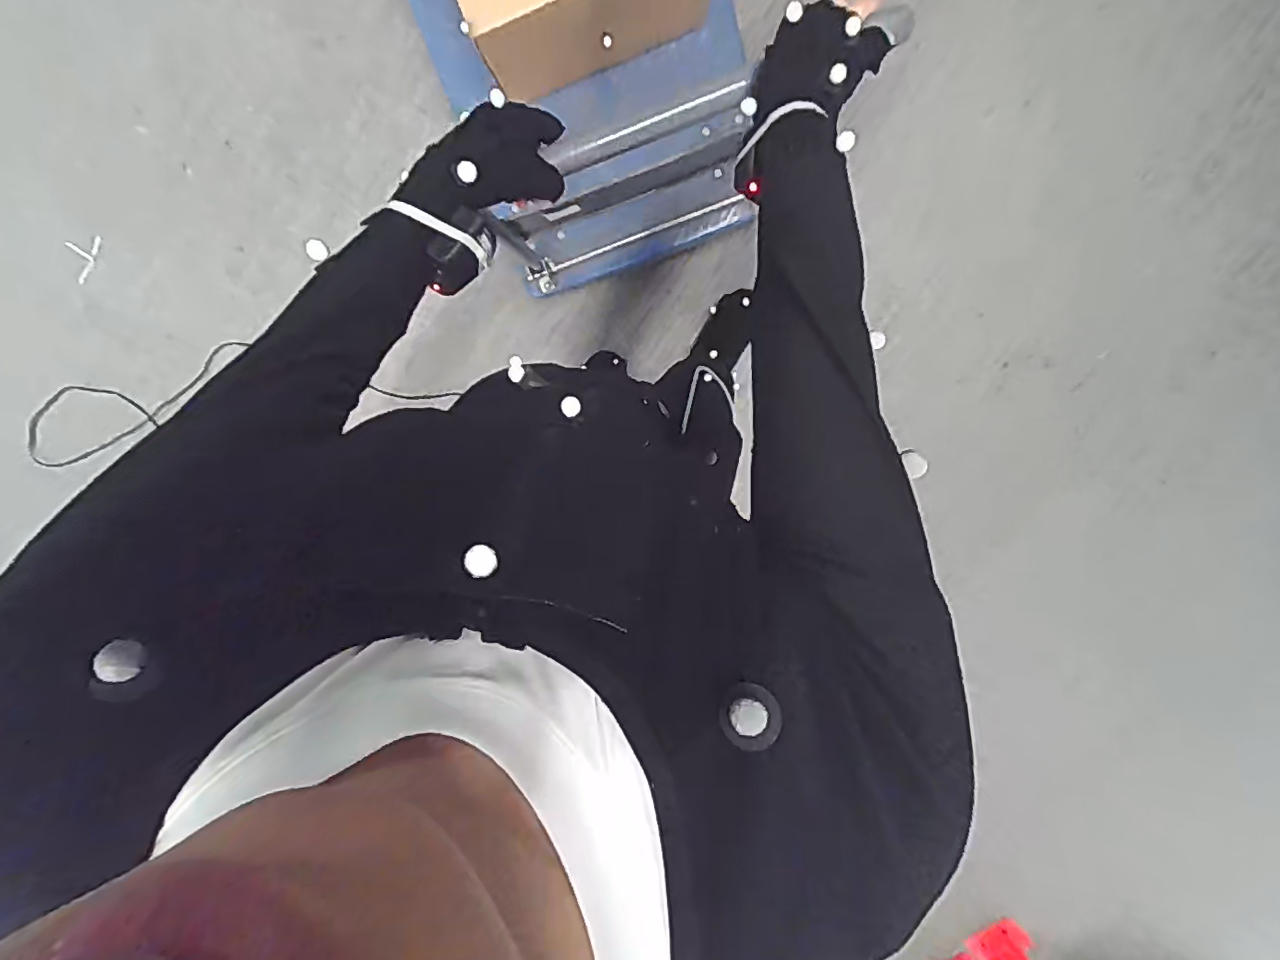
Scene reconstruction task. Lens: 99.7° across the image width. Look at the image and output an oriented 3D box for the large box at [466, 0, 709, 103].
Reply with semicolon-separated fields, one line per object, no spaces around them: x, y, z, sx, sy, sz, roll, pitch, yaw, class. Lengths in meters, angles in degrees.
-0.107;-0.905;0.878;0.408;0.320;0.320;-21;107;6;large box
